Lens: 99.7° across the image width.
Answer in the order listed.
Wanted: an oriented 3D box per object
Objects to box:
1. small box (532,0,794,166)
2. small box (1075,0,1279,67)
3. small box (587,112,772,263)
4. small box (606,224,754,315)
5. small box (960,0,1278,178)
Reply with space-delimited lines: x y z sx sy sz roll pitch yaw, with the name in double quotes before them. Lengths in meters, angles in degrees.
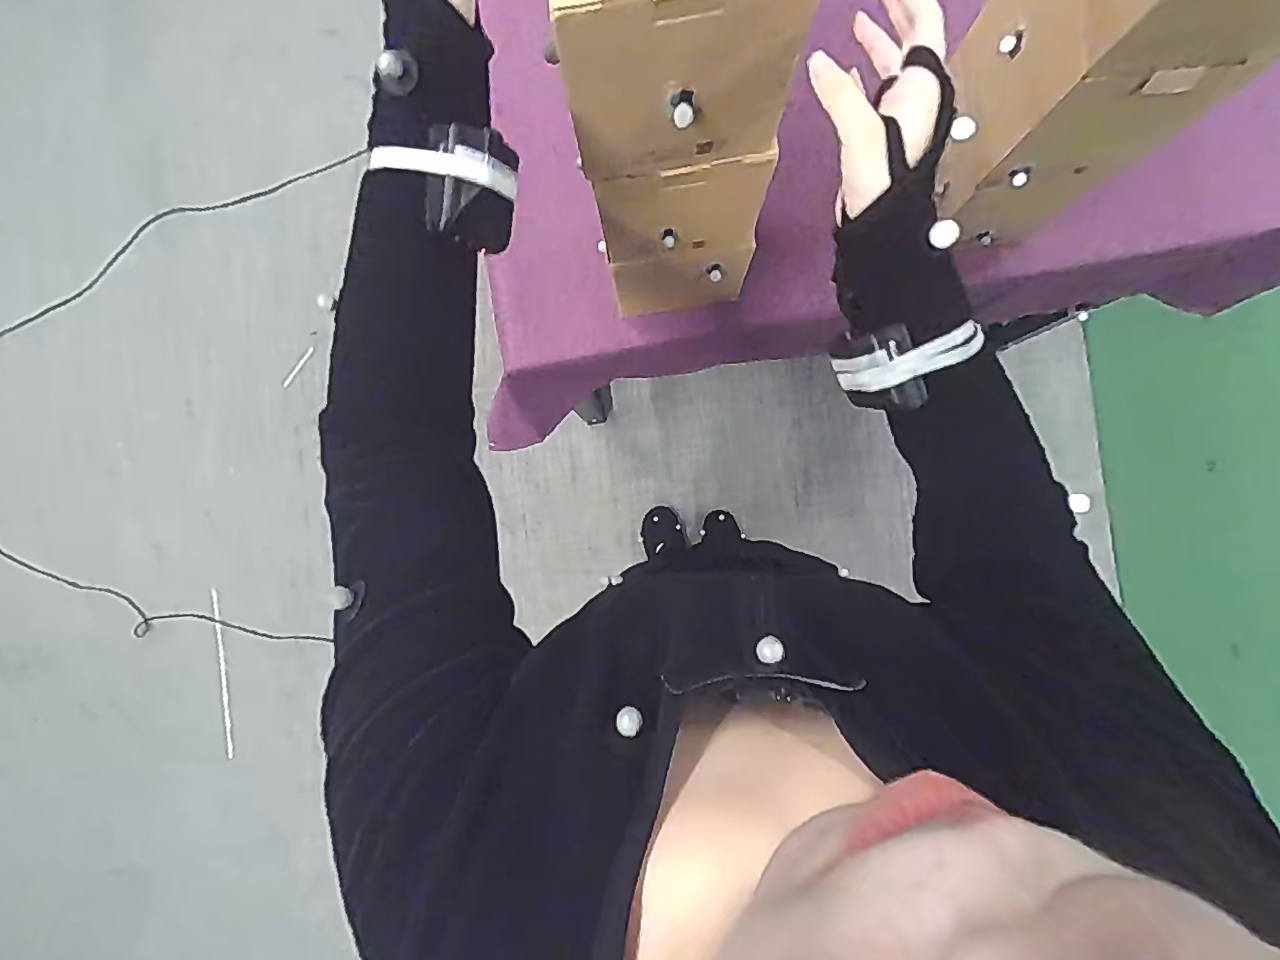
"small box" 0.012 -0.361 0.396 0.168 0.176 0.179 -9 88 2
"small box" 0.441 -0.427 0.372 0.179 0.176 0.168 -3 89 3
"small box" 0.030 -0.352 0.559 0.168 0.176 0.179 -7 88 3
"small box" 0.043 -0.336 0.721 0.179 0.176 0.168 -7 86 3
"small box" 0.448 -0.427 0.535 0.168 0.176 0.179 -5 87 3
